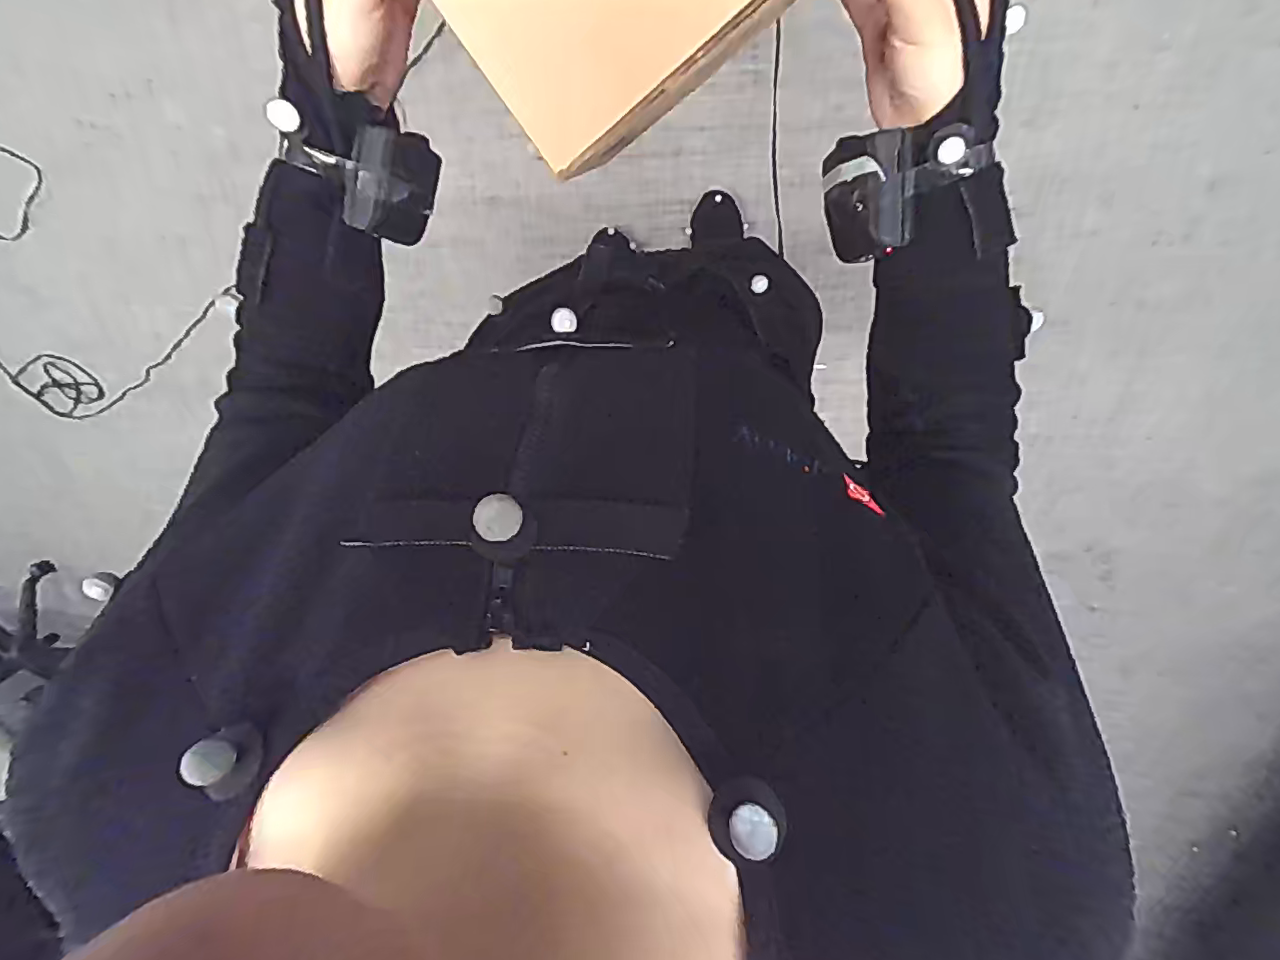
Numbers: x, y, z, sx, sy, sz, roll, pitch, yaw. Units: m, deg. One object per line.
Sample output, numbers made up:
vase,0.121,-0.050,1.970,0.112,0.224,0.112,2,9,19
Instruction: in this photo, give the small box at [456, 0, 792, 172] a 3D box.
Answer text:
small box,-0.007,-0.270,0.231,0.179,0.168,0.176,-31,115,20
